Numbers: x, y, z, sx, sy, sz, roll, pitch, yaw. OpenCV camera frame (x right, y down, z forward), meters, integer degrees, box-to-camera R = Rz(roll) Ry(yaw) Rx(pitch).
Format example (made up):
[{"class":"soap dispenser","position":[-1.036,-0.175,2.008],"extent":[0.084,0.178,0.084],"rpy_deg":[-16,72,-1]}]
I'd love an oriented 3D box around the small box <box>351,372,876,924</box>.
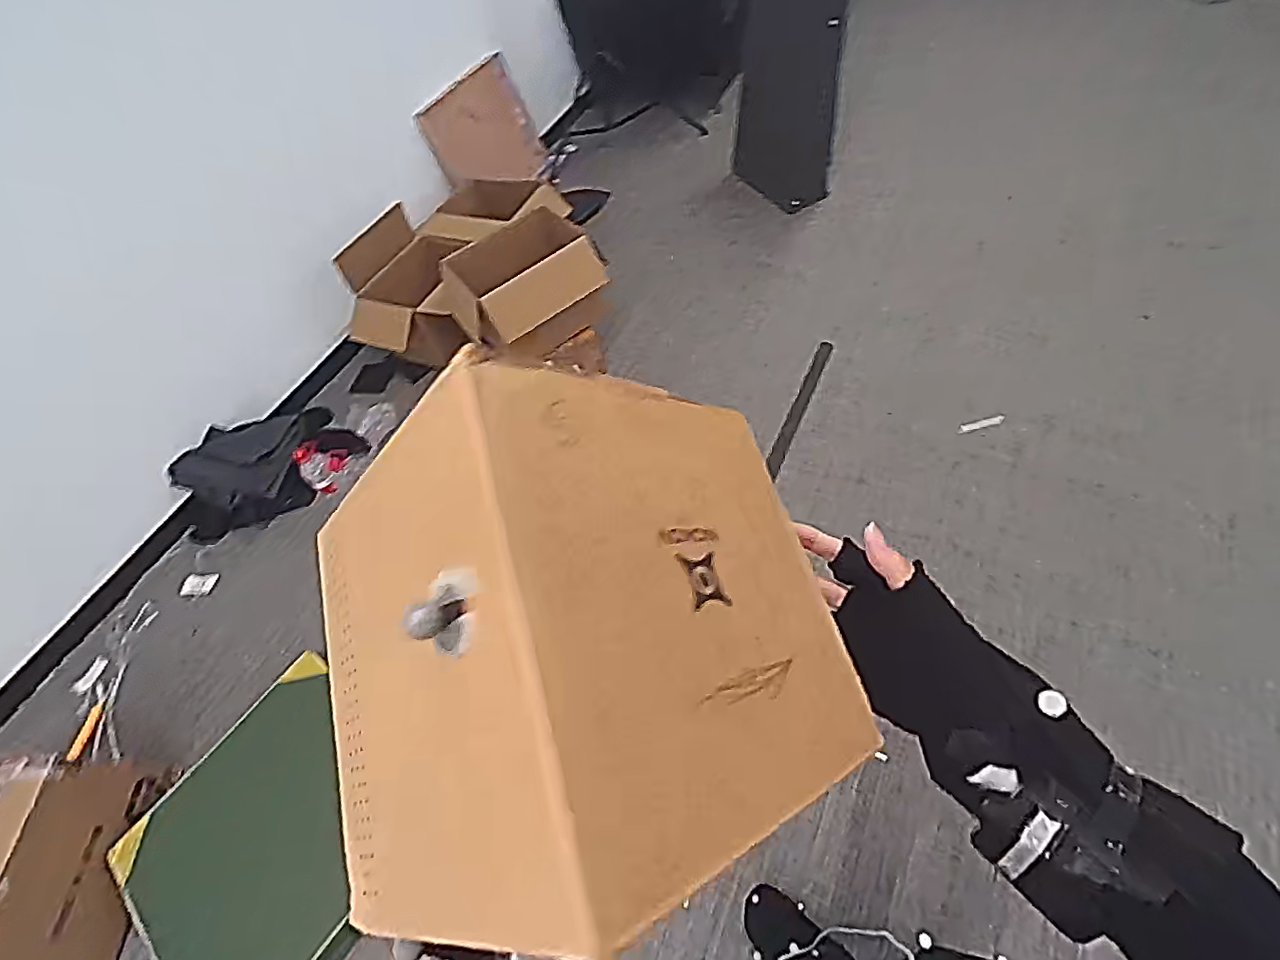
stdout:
[{"class":"small box","position":[-0.025,0.080,0.268],"extent":[0.176,0.168,0.179],"rpy_deg":[-34,63,36]}]
